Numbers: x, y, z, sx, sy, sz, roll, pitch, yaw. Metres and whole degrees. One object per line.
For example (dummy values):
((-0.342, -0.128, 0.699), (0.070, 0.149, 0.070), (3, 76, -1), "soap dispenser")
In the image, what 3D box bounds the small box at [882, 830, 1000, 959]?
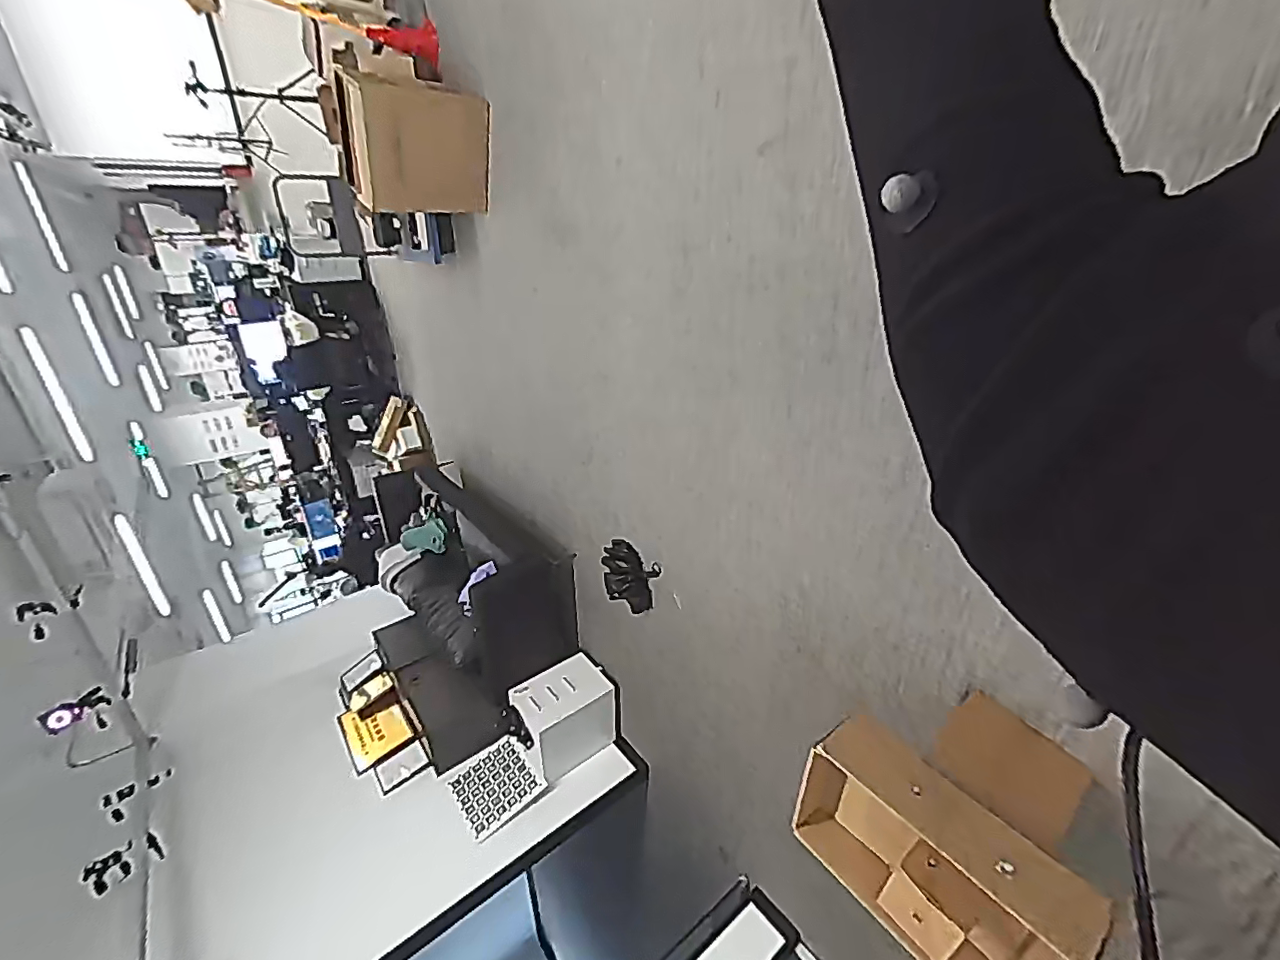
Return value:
((0.714, 0.983, 1.282), (0.168, 0.176, 0.179), (36, 136, 44), "small box")
